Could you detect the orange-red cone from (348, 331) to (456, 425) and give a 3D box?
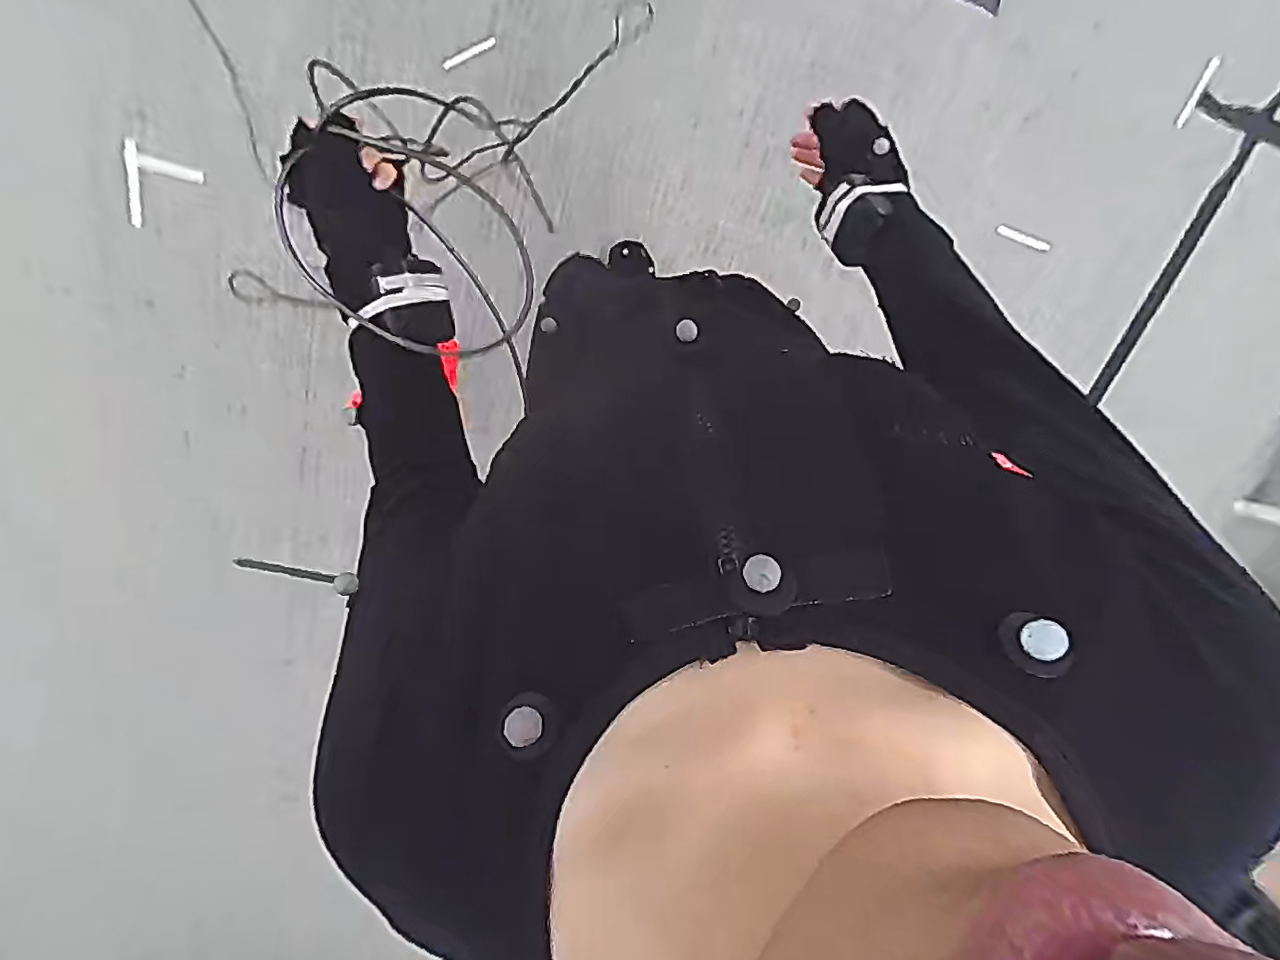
[{"bbox_3d":[-0.558,-0.196,1.209,0.199,0.360,0.198,10,112,-9],"label":"orange-red cone"}]
